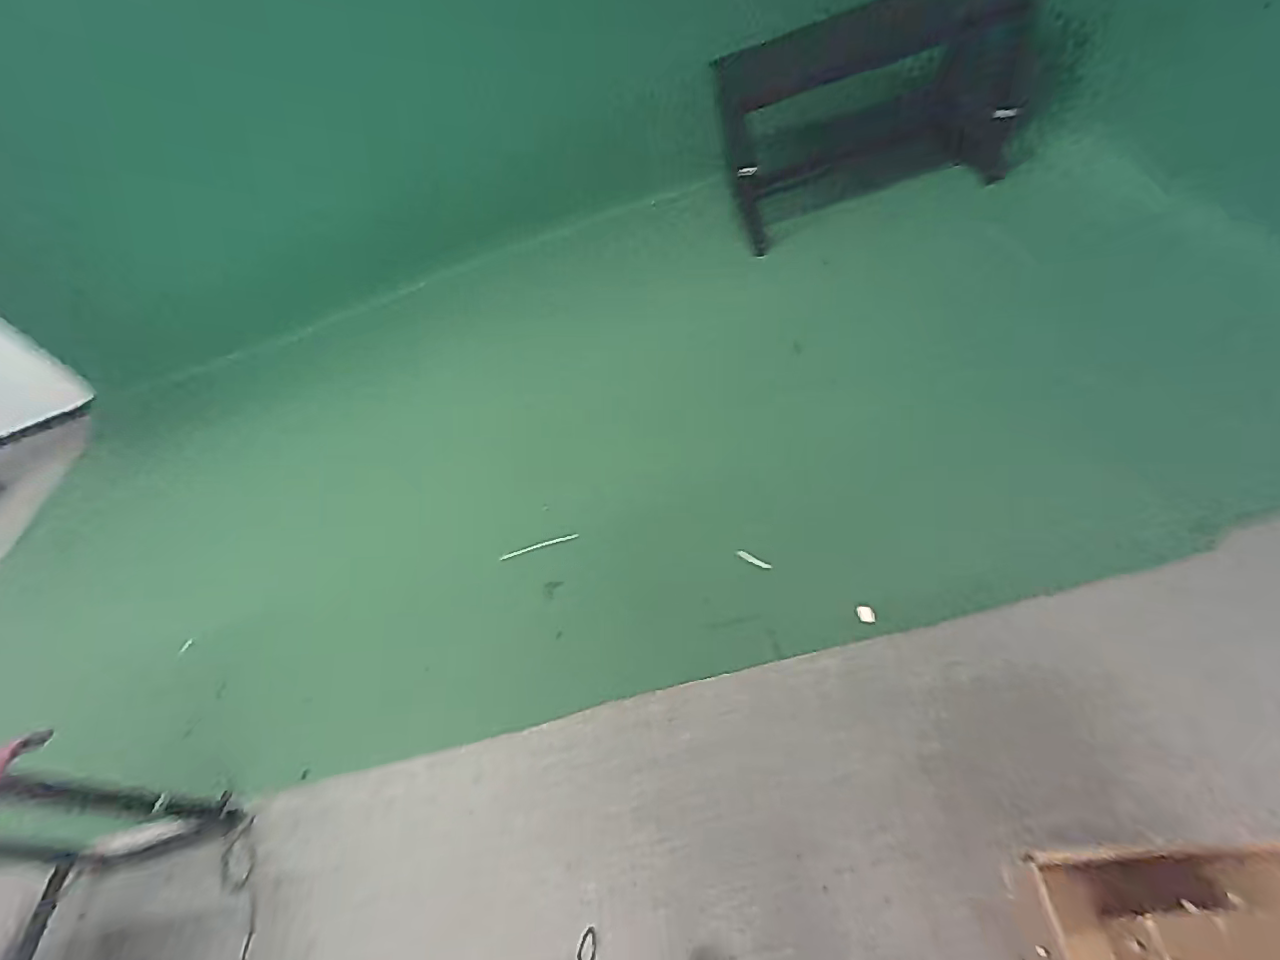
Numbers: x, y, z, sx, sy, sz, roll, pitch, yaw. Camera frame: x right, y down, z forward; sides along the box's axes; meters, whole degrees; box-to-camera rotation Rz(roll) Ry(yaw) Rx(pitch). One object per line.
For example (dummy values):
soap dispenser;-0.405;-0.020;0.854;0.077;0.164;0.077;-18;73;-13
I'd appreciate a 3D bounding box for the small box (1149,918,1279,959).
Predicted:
small box;0.710;0.572;0.568;0.179;0.176;0.168;-9;52;12

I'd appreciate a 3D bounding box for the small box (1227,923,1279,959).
small box;0.670;0.473;0.441;0.179;0.176;0.168;-9;51;13
